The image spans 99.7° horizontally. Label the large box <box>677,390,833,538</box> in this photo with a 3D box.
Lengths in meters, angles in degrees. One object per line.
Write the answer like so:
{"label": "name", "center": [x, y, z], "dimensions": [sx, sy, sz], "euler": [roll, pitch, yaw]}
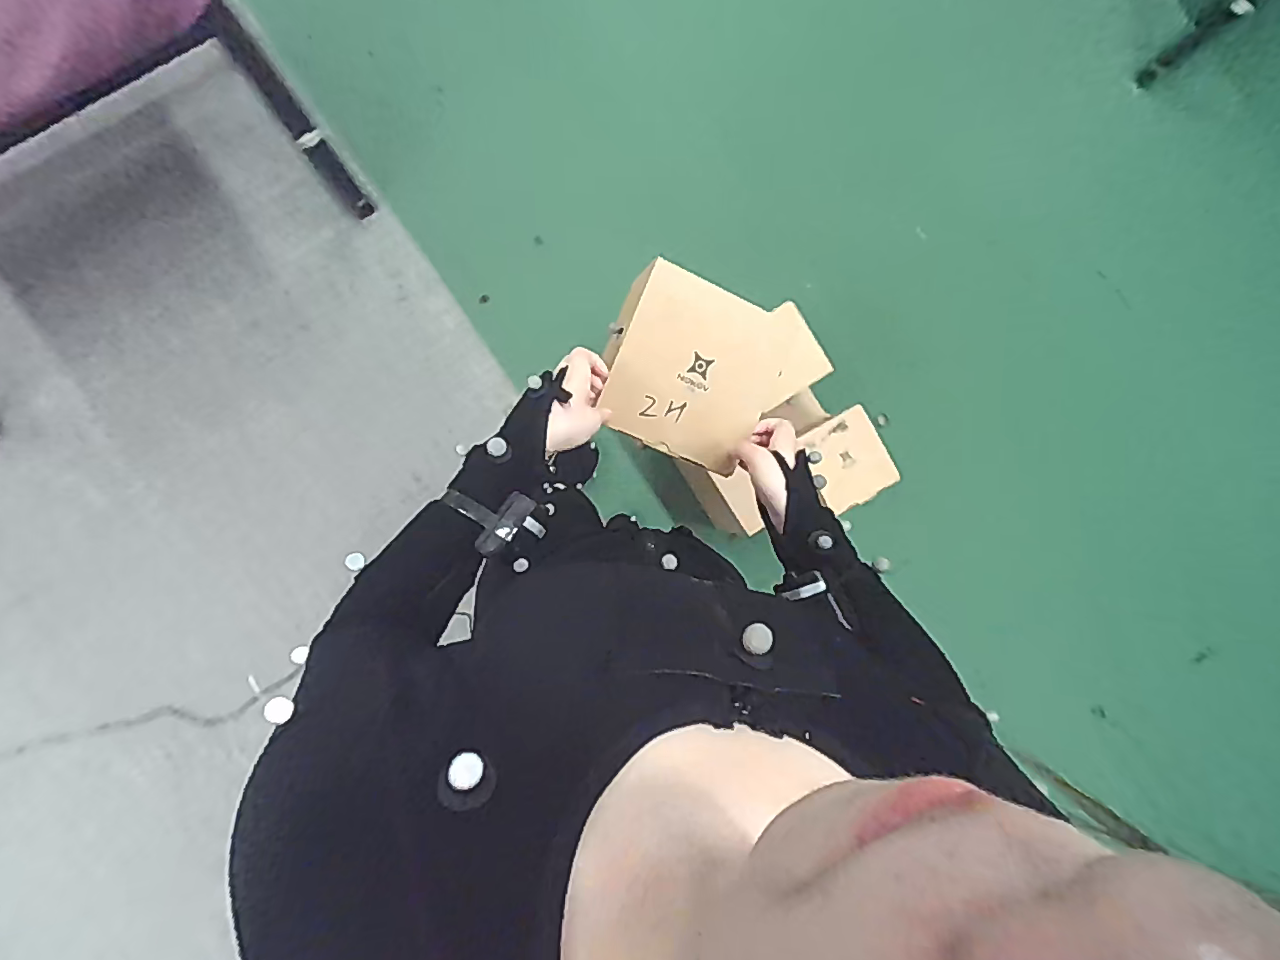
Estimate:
{"label": "large box", "center": [0.265, -0.109, 1.376], "dimensions": [0.320, 0.320, 0.408], "euler": [-33, 92, -5]}

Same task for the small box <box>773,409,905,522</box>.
{"label": "small box", "center": [0.410, -0.027, 1.139], "dimensions": [0.168, 0.176, 0.179], "euler": [-28, 90, -6]}

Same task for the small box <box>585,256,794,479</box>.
{"label": "small box", "center": [0.040, -0.123, 0.620], "dimensions": [0.168, 0.176, 0.179], "euler": [21, 98, -11]}

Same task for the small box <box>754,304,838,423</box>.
{"label": "small box", "center": [0.271, -0.234, 1.136], "dimensions": [0.179, 0.176, 0.168], "euler": [-32, 92, -5]}
